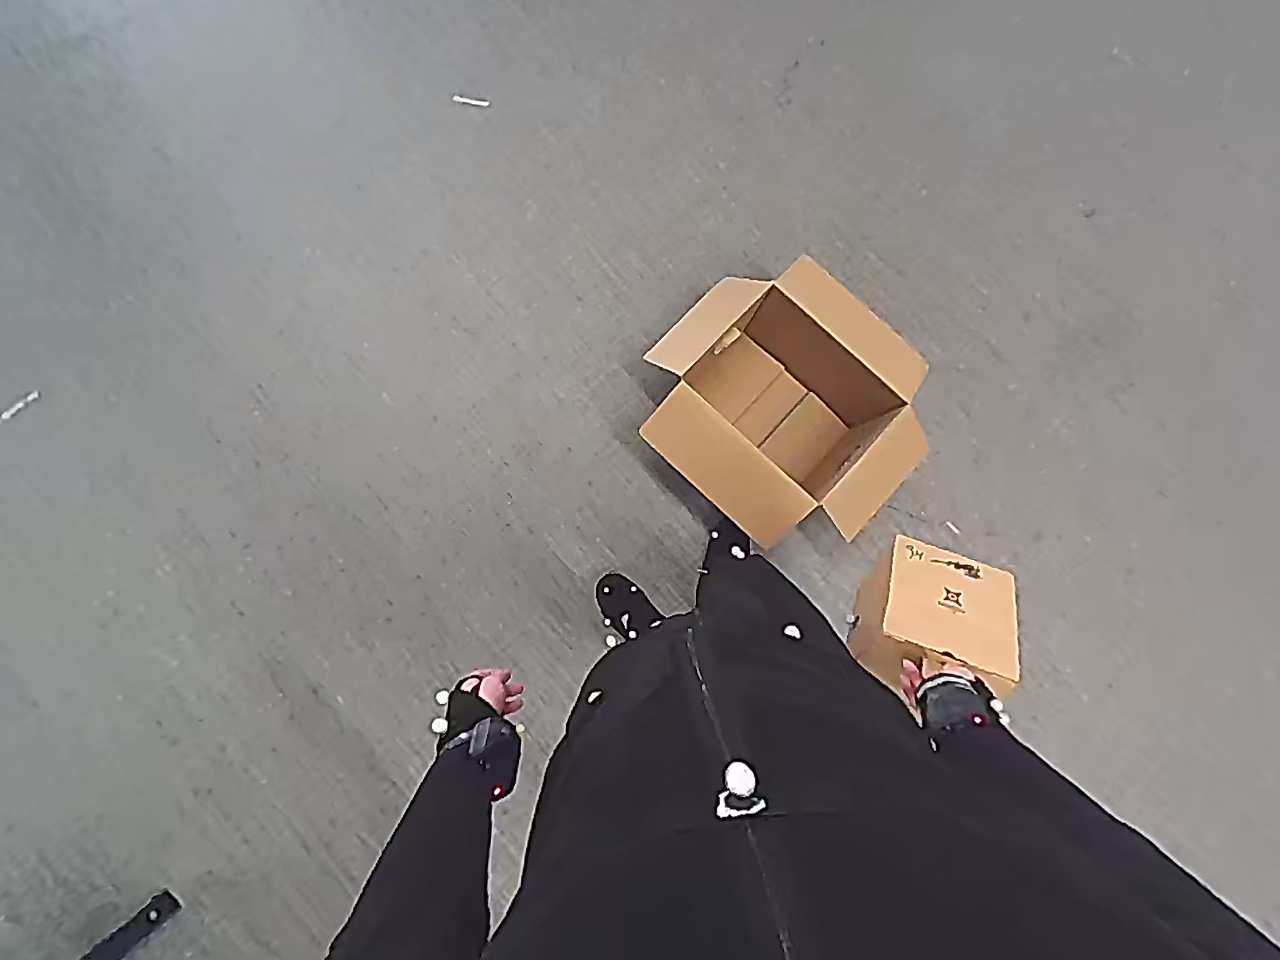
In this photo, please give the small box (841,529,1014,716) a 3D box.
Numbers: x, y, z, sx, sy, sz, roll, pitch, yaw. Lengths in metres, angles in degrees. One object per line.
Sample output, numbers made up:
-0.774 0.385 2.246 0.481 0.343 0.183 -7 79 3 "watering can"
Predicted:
0.408 0.209 0.785 0.168 0.176 0.179 21 50 14 "small box"
